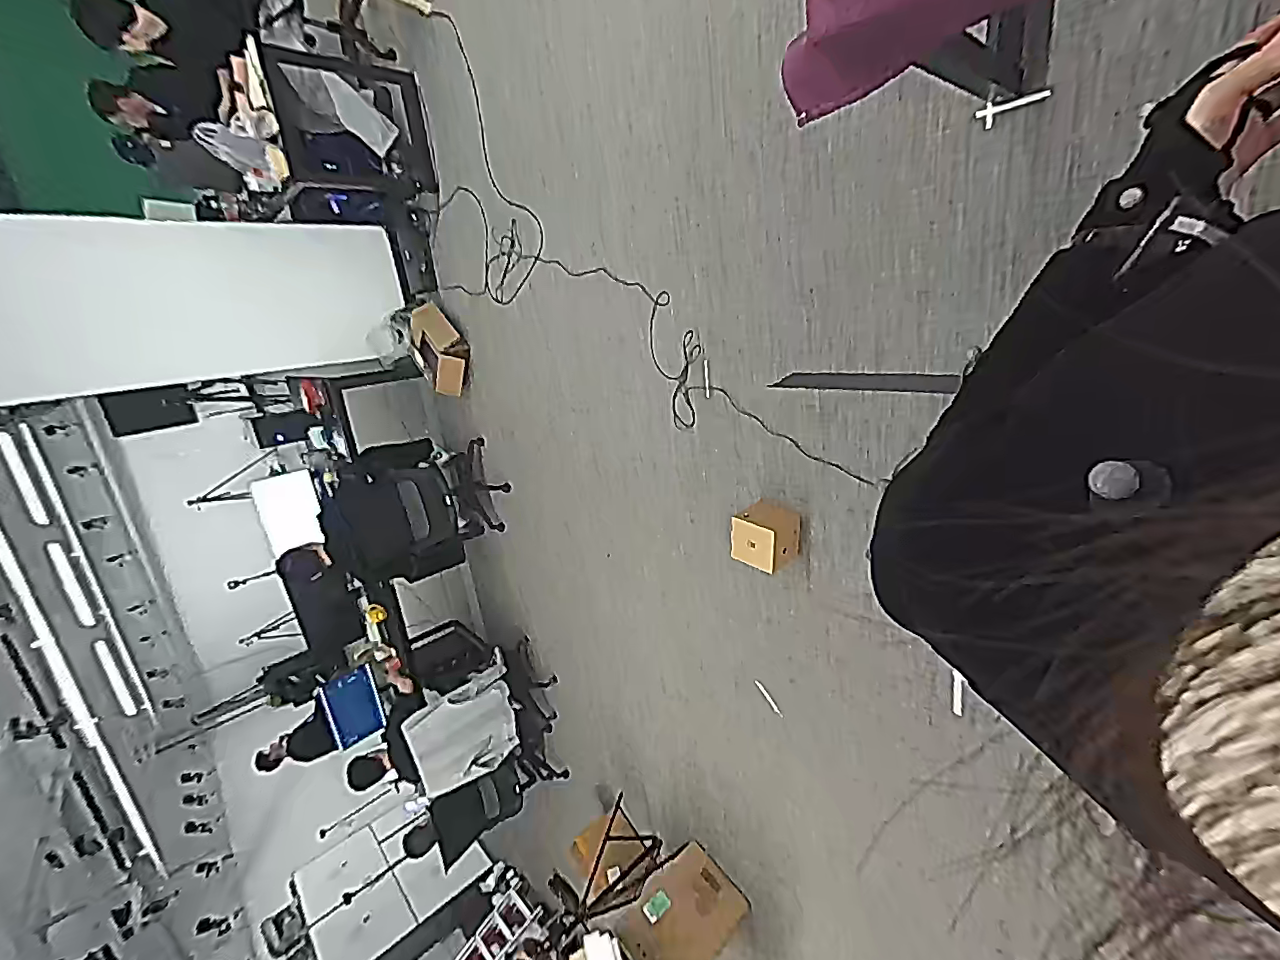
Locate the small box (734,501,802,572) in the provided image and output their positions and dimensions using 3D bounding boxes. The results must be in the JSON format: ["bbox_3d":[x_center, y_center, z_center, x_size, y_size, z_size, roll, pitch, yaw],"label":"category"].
[{"bbox_3d":[0.447,0.190,1.885,0.179,0.176,0.168,20,122,44],"label":"small box"}]
